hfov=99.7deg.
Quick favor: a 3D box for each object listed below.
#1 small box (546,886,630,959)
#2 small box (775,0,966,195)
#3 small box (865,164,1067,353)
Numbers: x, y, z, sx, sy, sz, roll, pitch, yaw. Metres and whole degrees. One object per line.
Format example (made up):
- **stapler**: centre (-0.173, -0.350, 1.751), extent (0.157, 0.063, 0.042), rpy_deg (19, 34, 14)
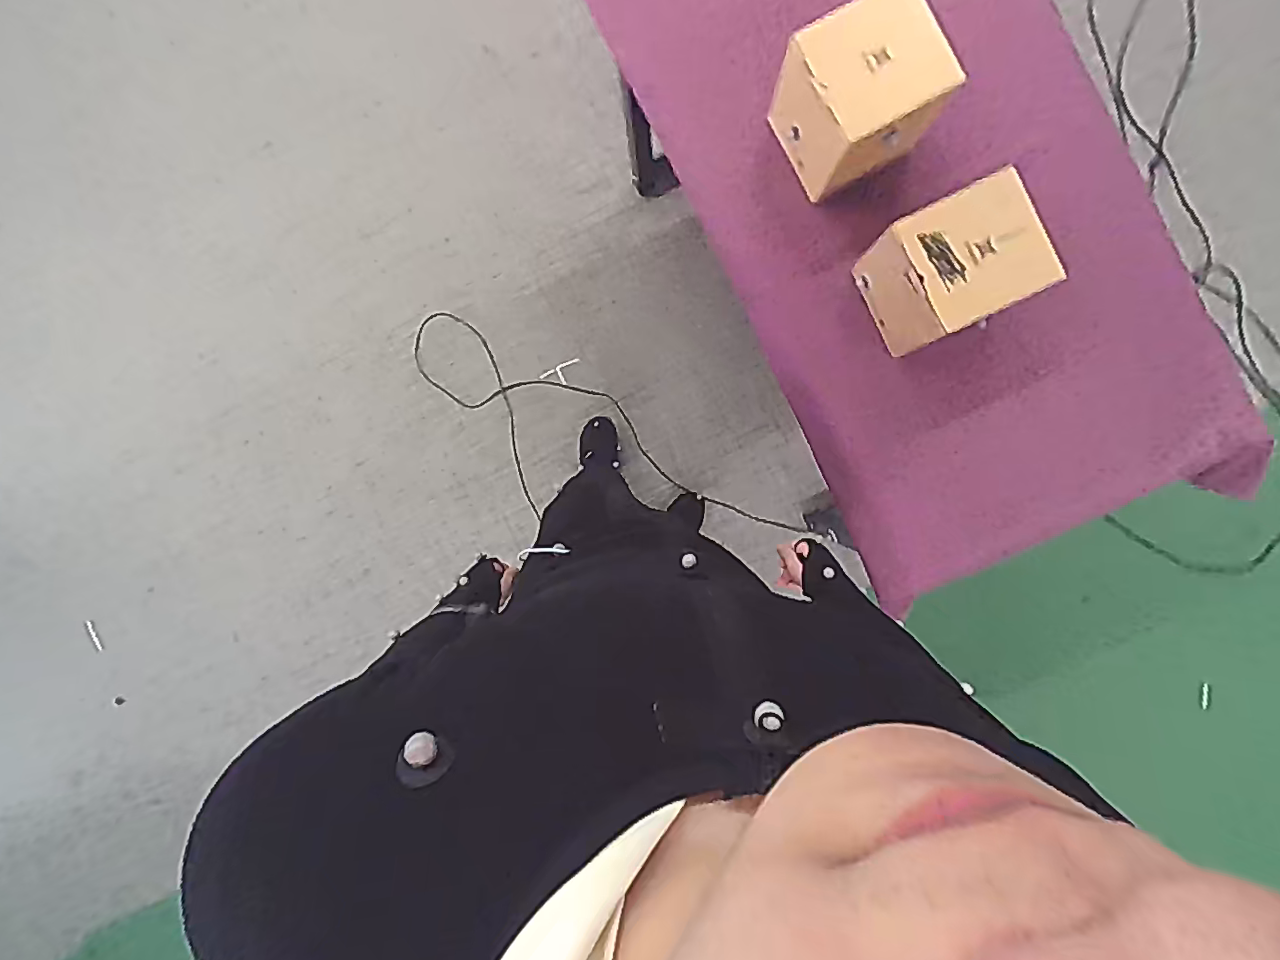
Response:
- **small box**: centre (-0.130, 1.235, 1.432), extent (0.168, 0.176, 0.179), rpy_deg (-18, 90, 3)
- **small box**: centre (0.324, -0.566, 0.796), extent (0.179, 0.176, 0.168), rpy_deg (-28, 90, 4)
- **small box**: centre (0.456, -0.308, 0.796), extent (0.179, 0.176, 0.168), rpy_deg (-26, 89, 5)
